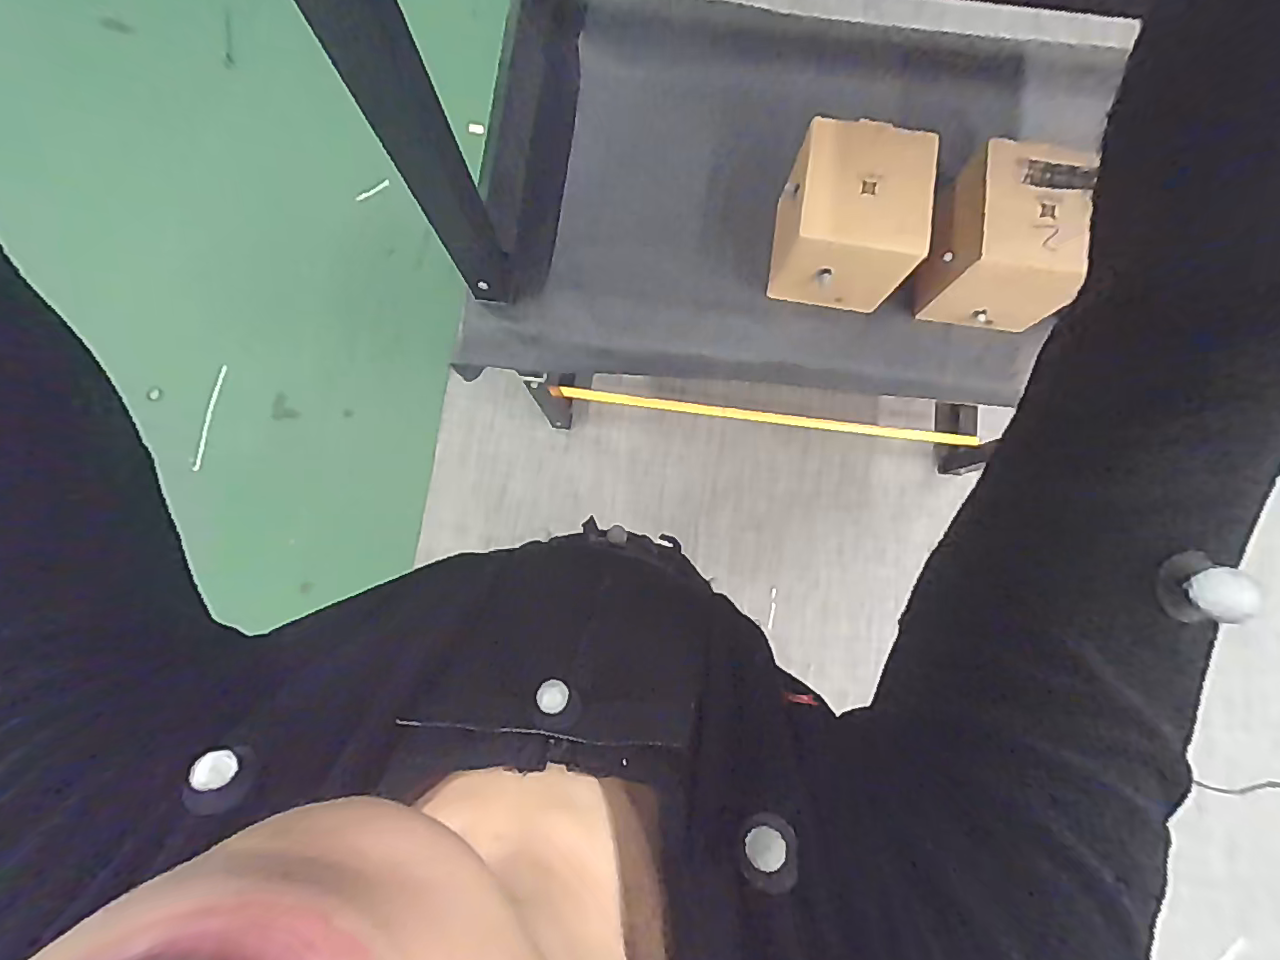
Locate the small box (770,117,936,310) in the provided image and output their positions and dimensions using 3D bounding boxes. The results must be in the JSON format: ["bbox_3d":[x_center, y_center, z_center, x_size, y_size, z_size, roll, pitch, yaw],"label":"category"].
[{"bbox_3d":[0.290,-0.364,0.769,0.168,0.176,0.179,9,81,1],"label":"small box"}]
